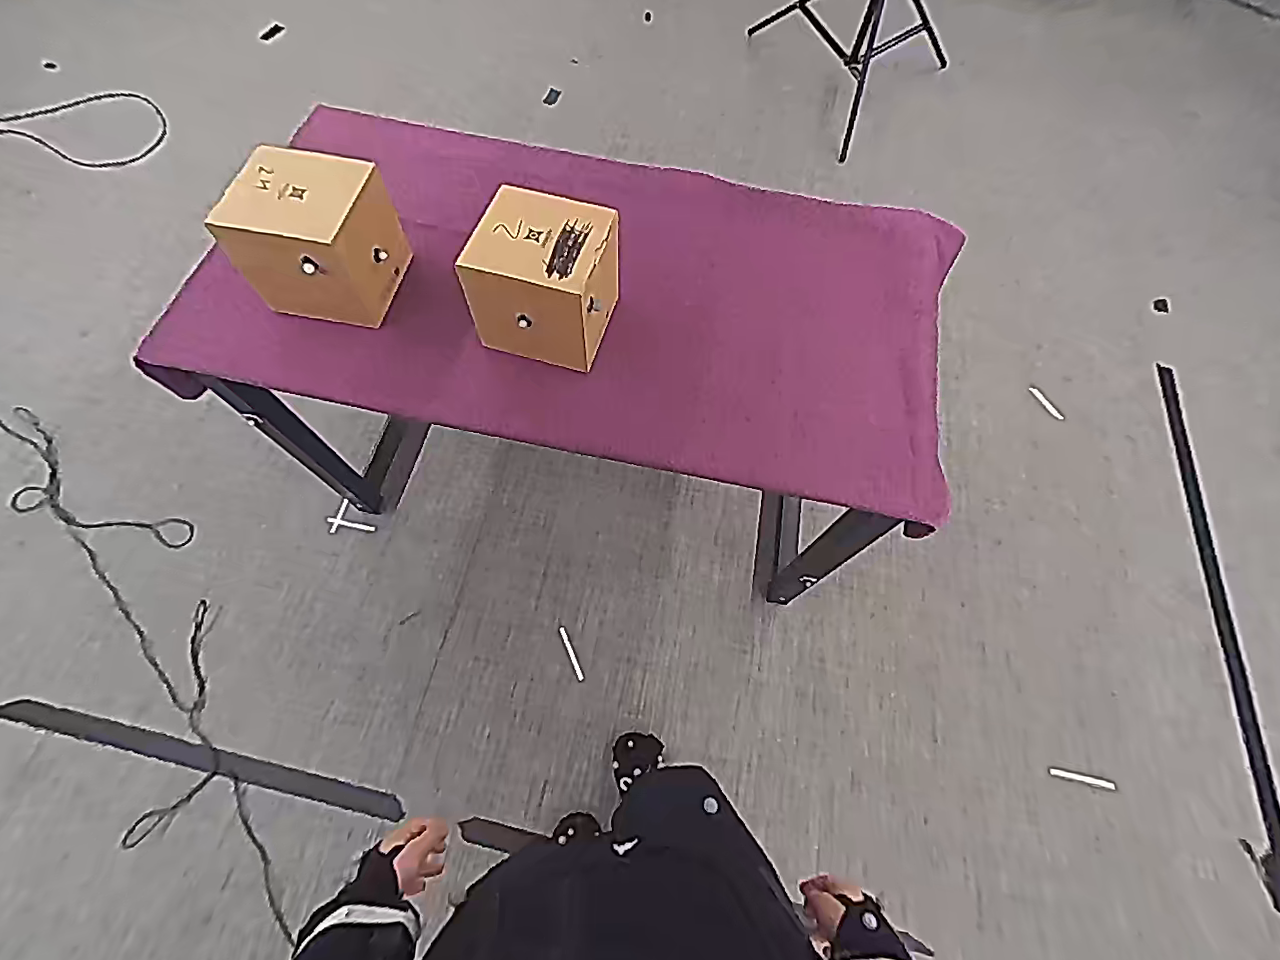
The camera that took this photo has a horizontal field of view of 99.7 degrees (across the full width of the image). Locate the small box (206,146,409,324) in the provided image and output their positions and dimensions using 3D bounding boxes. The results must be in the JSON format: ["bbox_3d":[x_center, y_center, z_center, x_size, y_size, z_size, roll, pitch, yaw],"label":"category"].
[{"bbox_3d":[-0.476,-0.358,0.812,0.179,0.176,0.168,9,64,2],"label":"small box"}]
